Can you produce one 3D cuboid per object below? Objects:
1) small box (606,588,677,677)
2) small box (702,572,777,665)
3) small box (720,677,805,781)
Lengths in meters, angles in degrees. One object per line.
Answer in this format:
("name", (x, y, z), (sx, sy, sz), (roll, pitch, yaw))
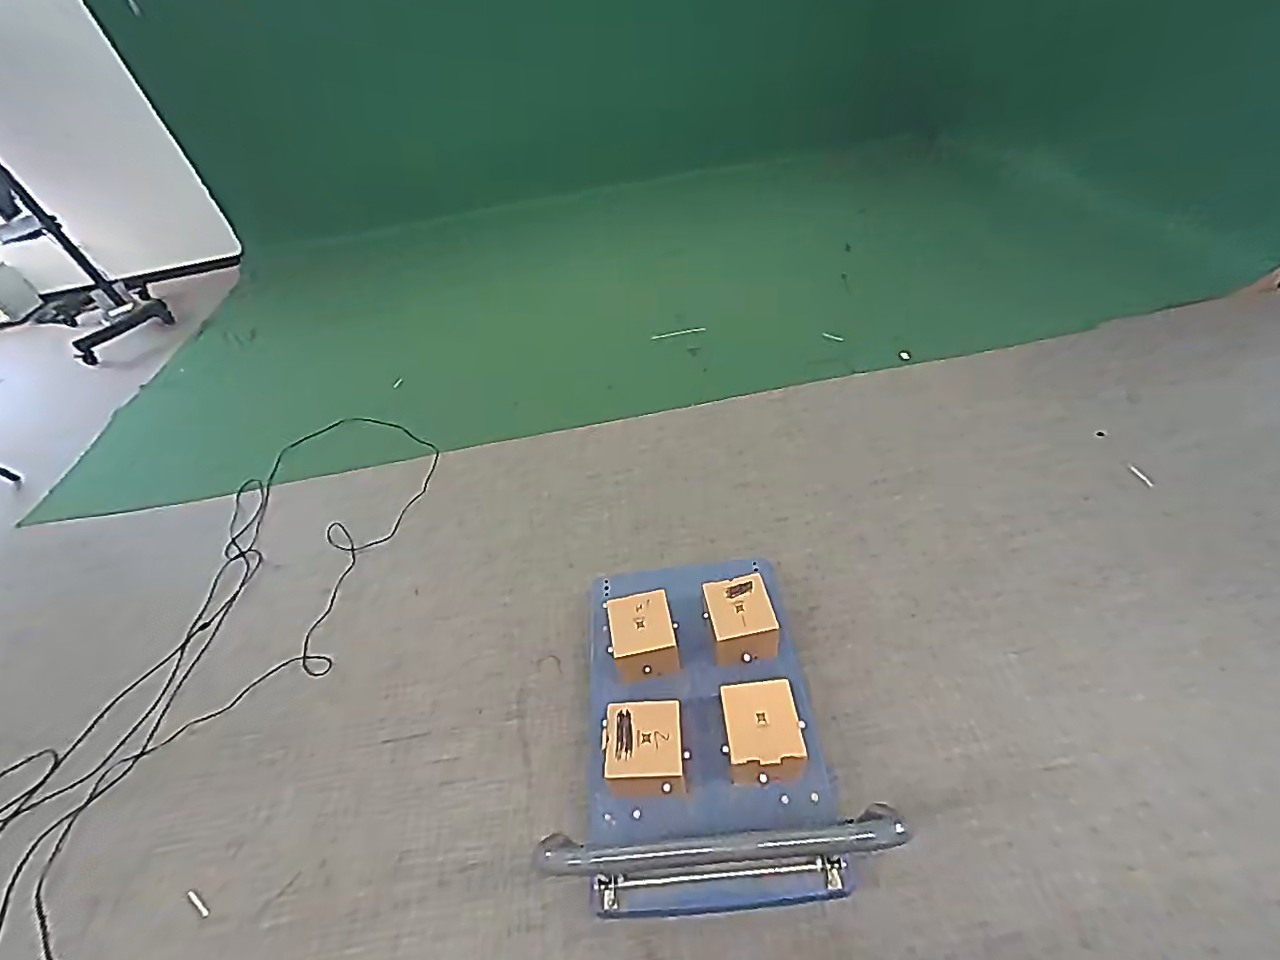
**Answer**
("small box", (0.006, 0.431, 1.507), (0.168, 0.176, 0.179), (-11, 46, -2))
("small box", (0.272, 0.386, 1.505), (0.168, 0.176, 0.179), (-11, 47, 0))
("small box", (0.285, 0.600, 1.301), (0.168, 0.176, 0.179), (-7, 47, 3))
